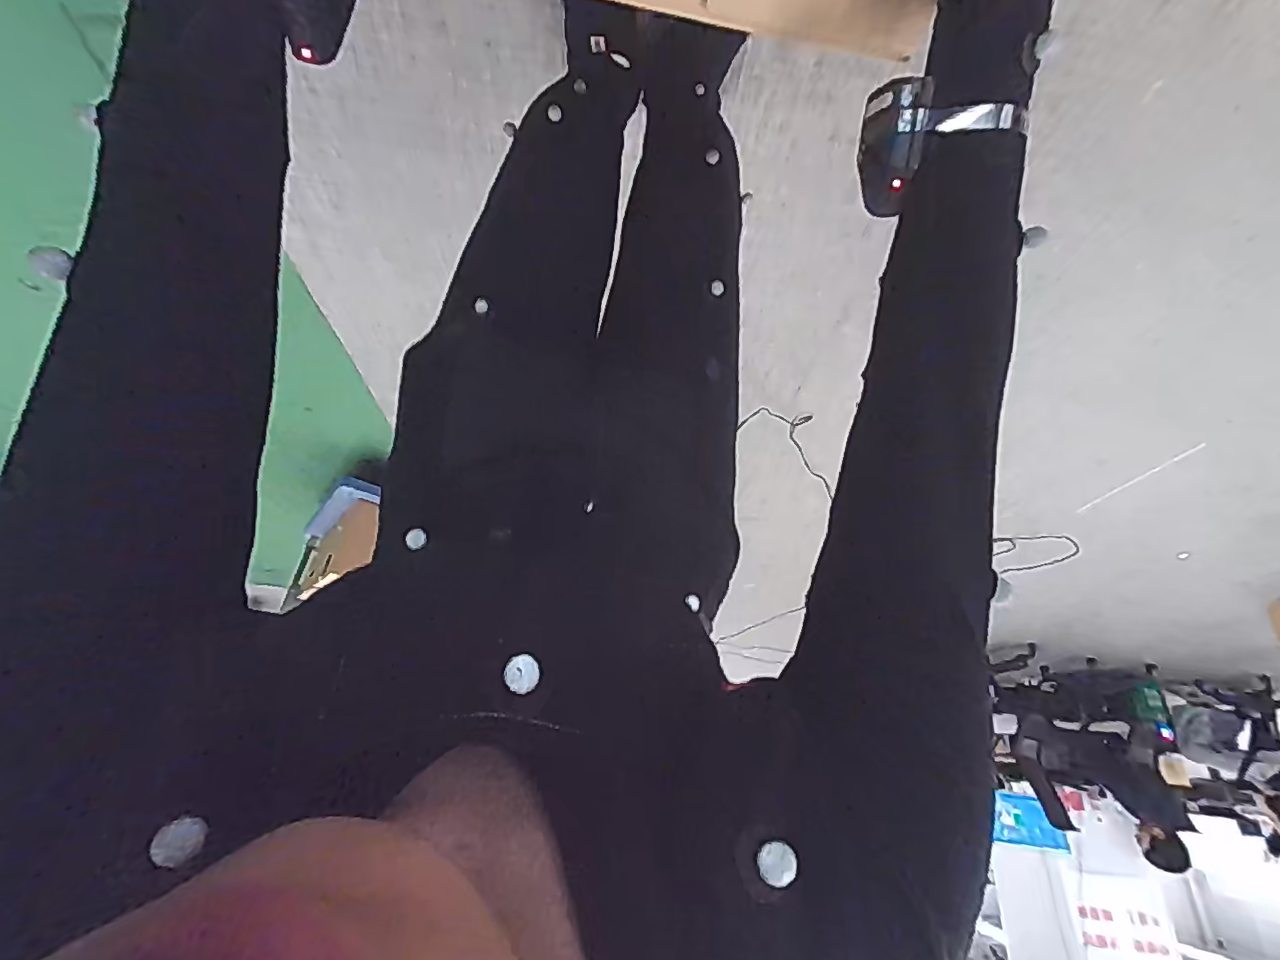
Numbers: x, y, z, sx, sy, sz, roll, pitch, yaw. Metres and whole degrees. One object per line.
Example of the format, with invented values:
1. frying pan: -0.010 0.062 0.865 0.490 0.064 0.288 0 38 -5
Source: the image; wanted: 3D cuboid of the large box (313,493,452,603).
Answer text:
1. large box: -1.062 0.292 2.245 0.408 0.320 0.320 26 147 -33
